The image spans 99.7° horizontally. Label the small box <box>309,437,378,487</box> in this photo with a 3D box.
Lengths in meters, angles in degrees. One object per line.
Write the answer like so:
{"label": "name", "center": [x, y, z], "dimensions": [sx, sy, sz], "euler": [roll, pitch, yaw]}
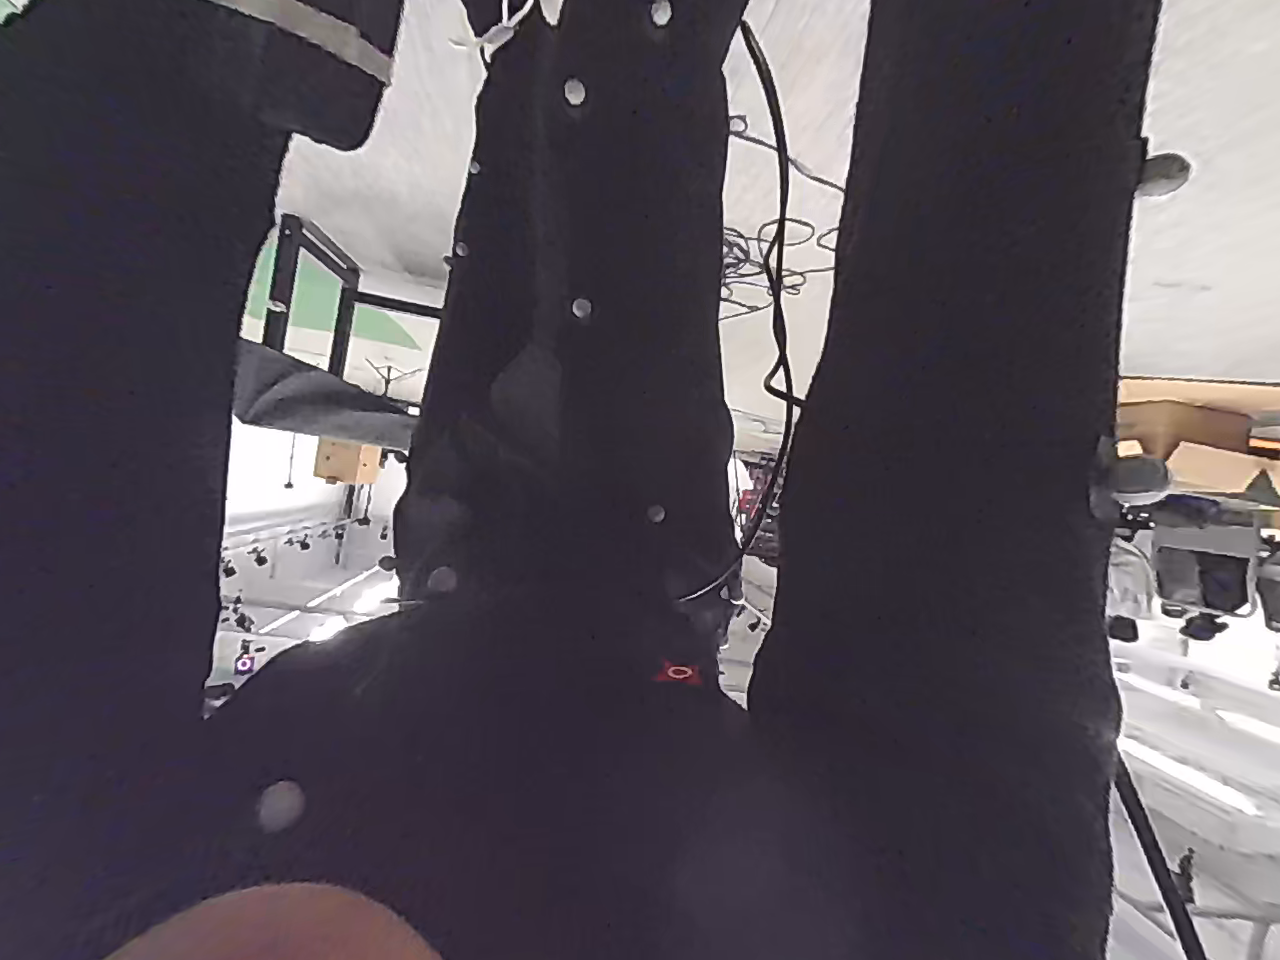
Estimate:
{"label": "small box", "center": [-1.153, -0.070, 2.110], "dimensions": [0.168, 0.176, 0.179], "euler": [11, -179, -1]}
